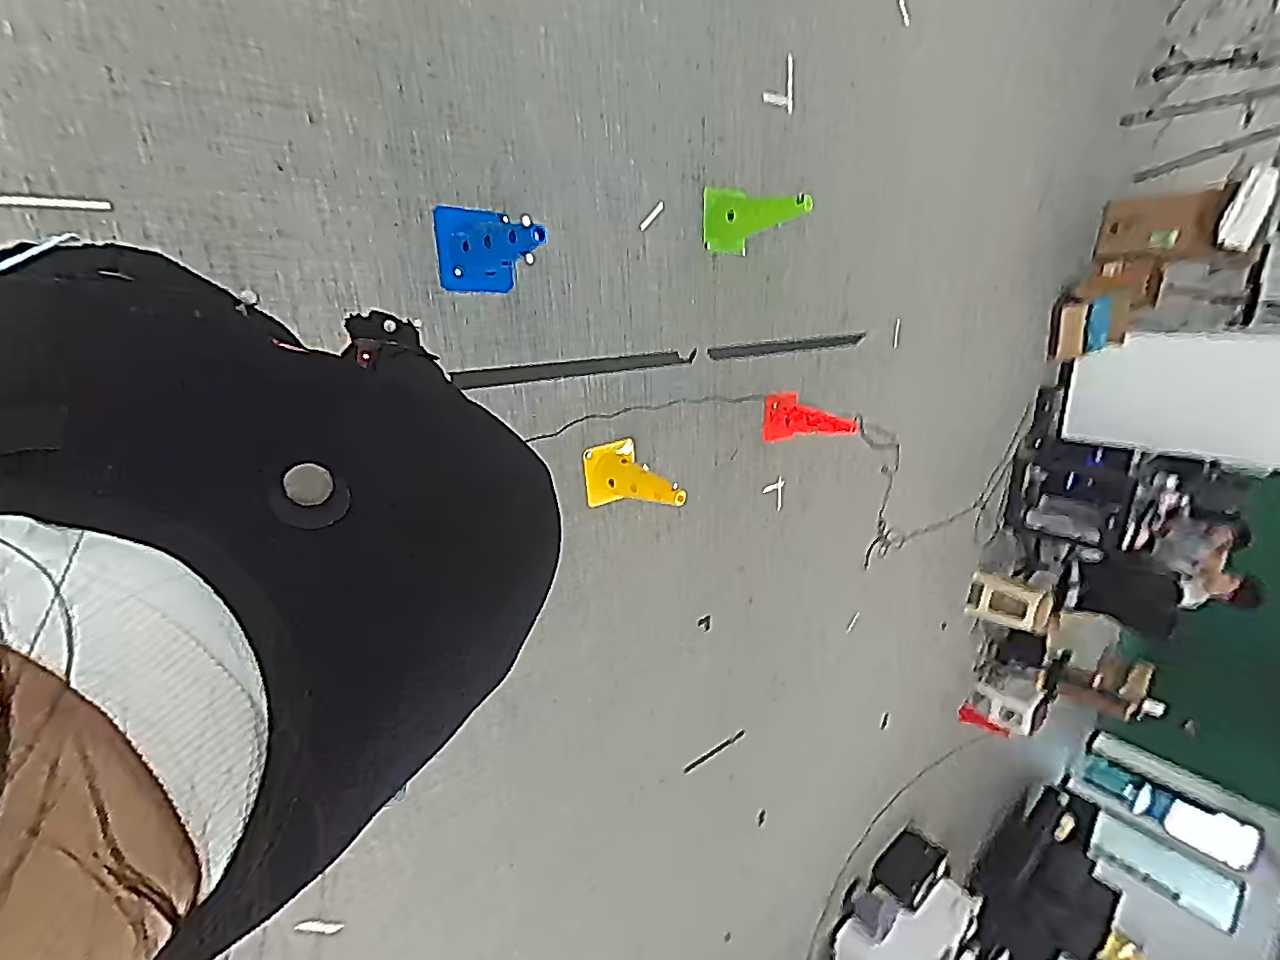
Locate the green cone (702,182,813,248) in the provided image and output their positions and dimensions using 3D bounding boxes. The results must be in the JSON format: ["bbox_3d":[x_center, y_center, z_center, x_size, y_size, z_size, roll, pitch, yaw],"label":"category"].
[{"bbox_3d":[0.393,-0.874,1.729,0.200,0.368,0.202,-15,111,-34],"label":"green cone"}]

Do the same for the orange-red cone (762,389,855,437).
[{"bbox_3d":[0.691,-0.244,2.151,0.198,0.360,0.199,-9,110,-35],"label":"orange-red cone"}]

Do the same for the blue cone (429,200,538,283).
[{"bbox_3d":[-0.336,-0.573,1.258,0.193,0.380,0.192,-11,108,-36],"label":"blue cone"}]
